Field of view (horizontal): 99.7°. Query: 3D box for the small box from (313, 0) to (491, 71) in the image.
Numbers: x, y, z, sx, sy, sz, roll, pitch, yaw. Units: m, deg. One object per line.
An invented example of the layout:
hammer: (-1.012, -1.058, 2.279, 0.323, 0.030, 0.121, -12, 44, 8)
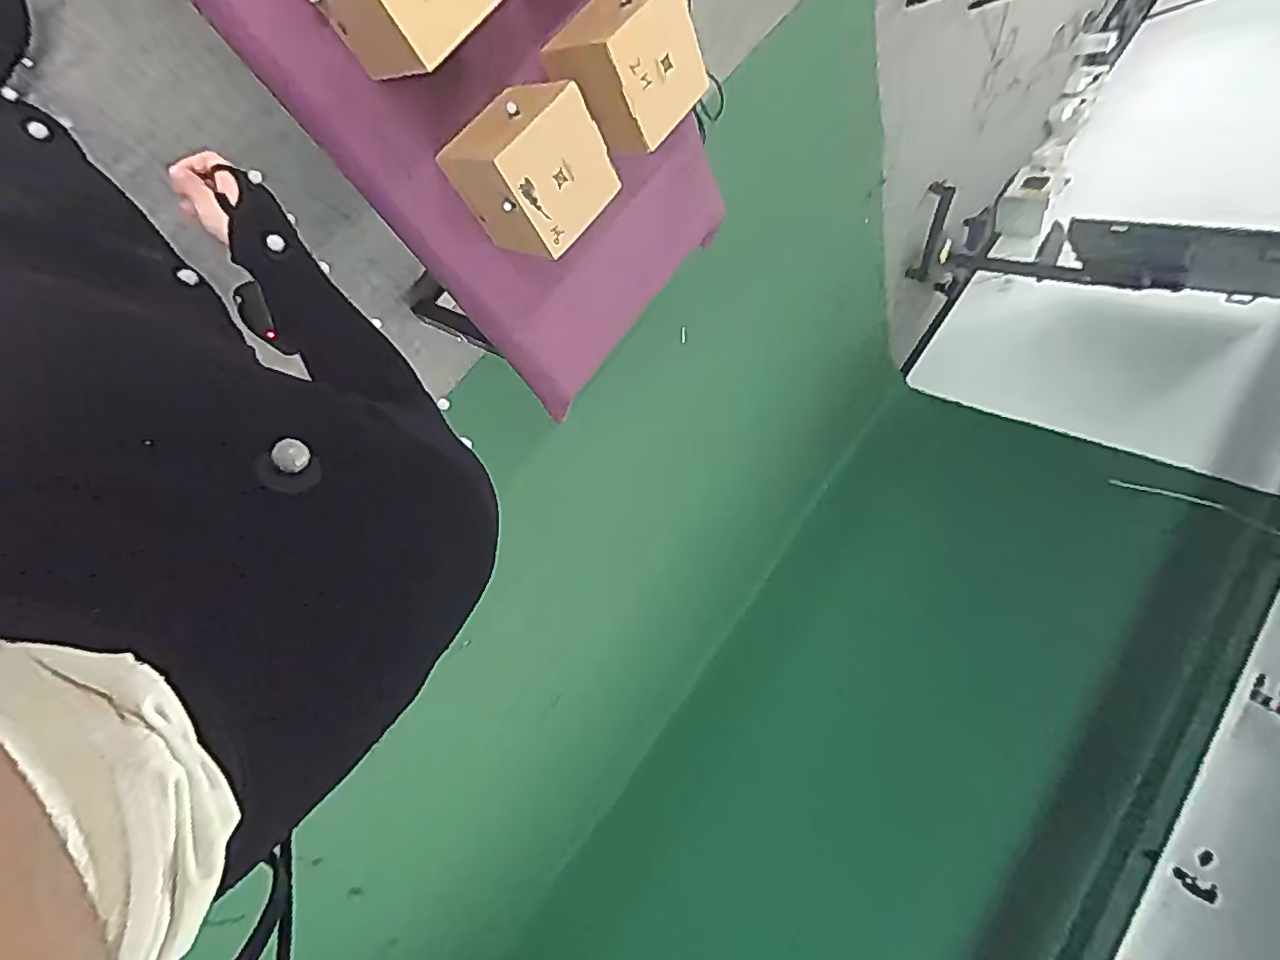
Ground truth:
small box: (-0.286, -0.612, 0.619, 0.179, 0.176, 0.168, -52, 141, -9)

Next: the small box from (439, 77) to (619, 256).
small box: (-0.170, -0.480, 0.834, 0.179, 0.176, 0.168, -52, 141, -11)

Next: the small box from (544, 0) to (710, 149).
small box: (-0.021, -0.673, 0.876, 0.179, 0.176, 0.168, -51, 141, -10)
